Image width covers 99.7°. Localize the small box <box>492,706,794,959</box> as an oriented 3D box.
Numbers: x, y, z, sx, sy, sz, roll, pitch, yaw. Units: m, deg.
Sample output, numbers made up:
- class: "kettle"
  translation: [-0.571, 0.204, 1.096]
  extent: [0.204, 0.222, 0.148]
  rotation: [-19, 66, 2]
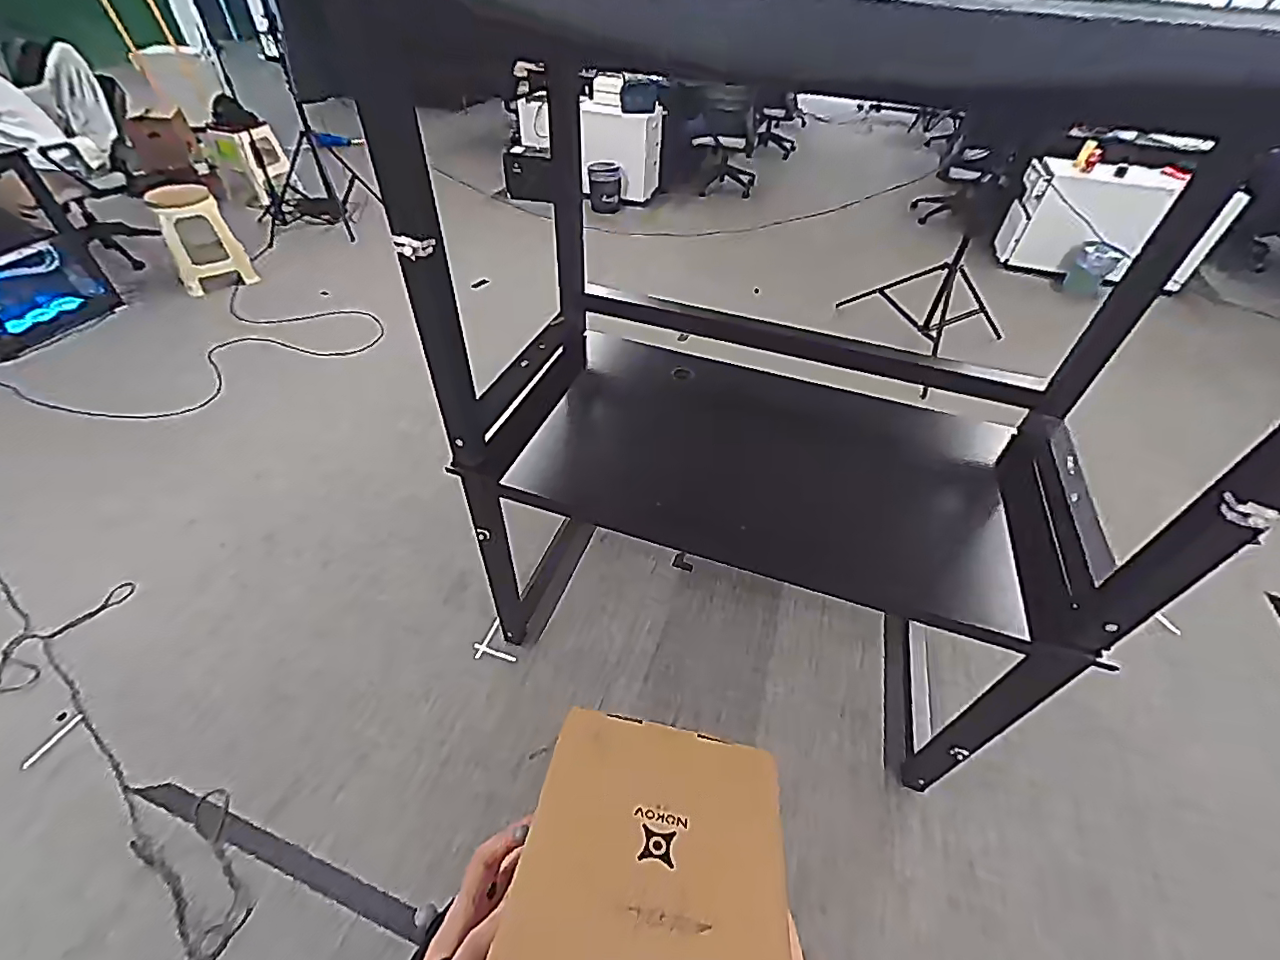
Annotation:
- class: "small box"
  translation: [0.001, 0.303, 0.383]
  extent: [0.168, 0.176, 0.179]
  rotation: [11, 27, 4]
